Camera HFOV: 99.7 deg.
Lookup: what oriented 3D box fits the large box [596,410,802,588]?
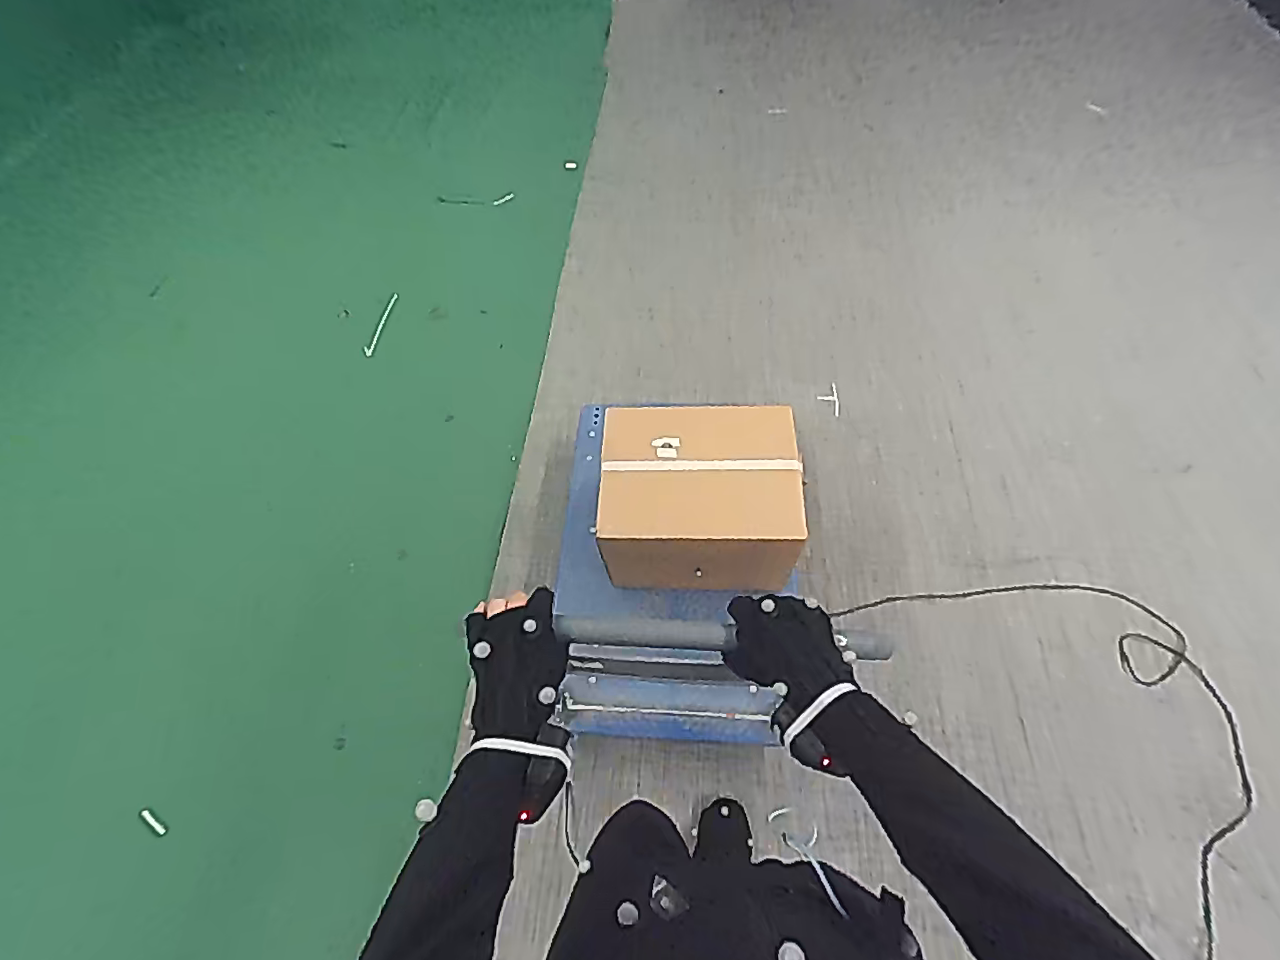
[{"bbox_3d":[0.131,0.058,1.245,0.408,0.320,0.320,-1,60,6],"label":"large box"}]
